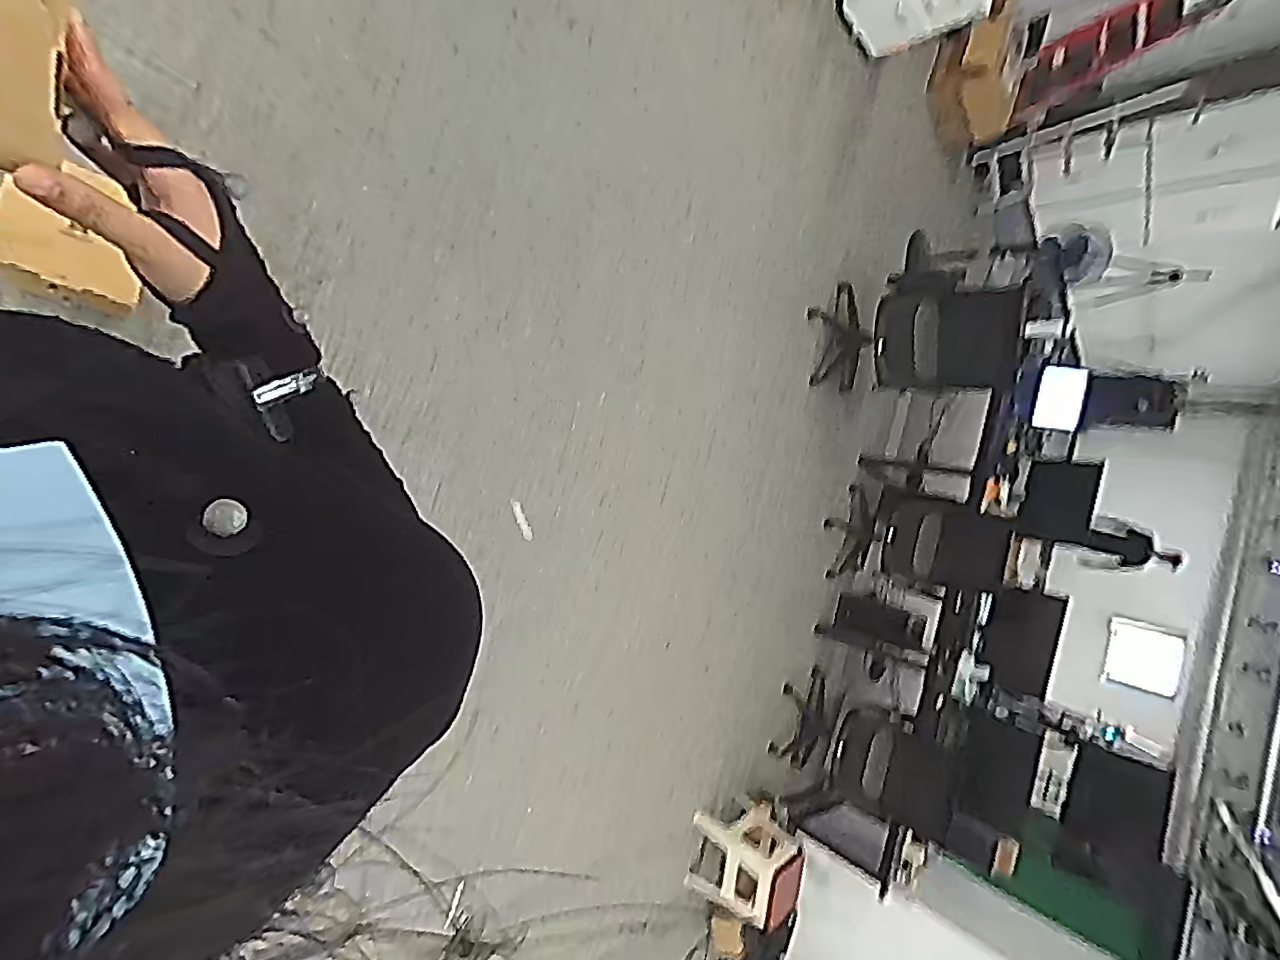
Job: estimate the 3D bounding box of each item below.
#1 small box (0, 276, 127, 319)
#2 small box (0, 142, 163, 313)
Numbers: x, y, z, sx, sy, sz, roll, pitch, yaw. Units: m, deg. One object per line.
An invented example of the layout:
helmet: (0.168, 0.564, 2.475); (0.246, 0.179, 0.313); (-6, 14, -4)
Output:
small box: (-1.009, -0.403, 0.968); (0.168, 0.176, 0.179); (17, 85, -46)
small box: (-0.894, -0.382, 0.855); (0.168, 0.176, 0.179); (18, 85, -45)
